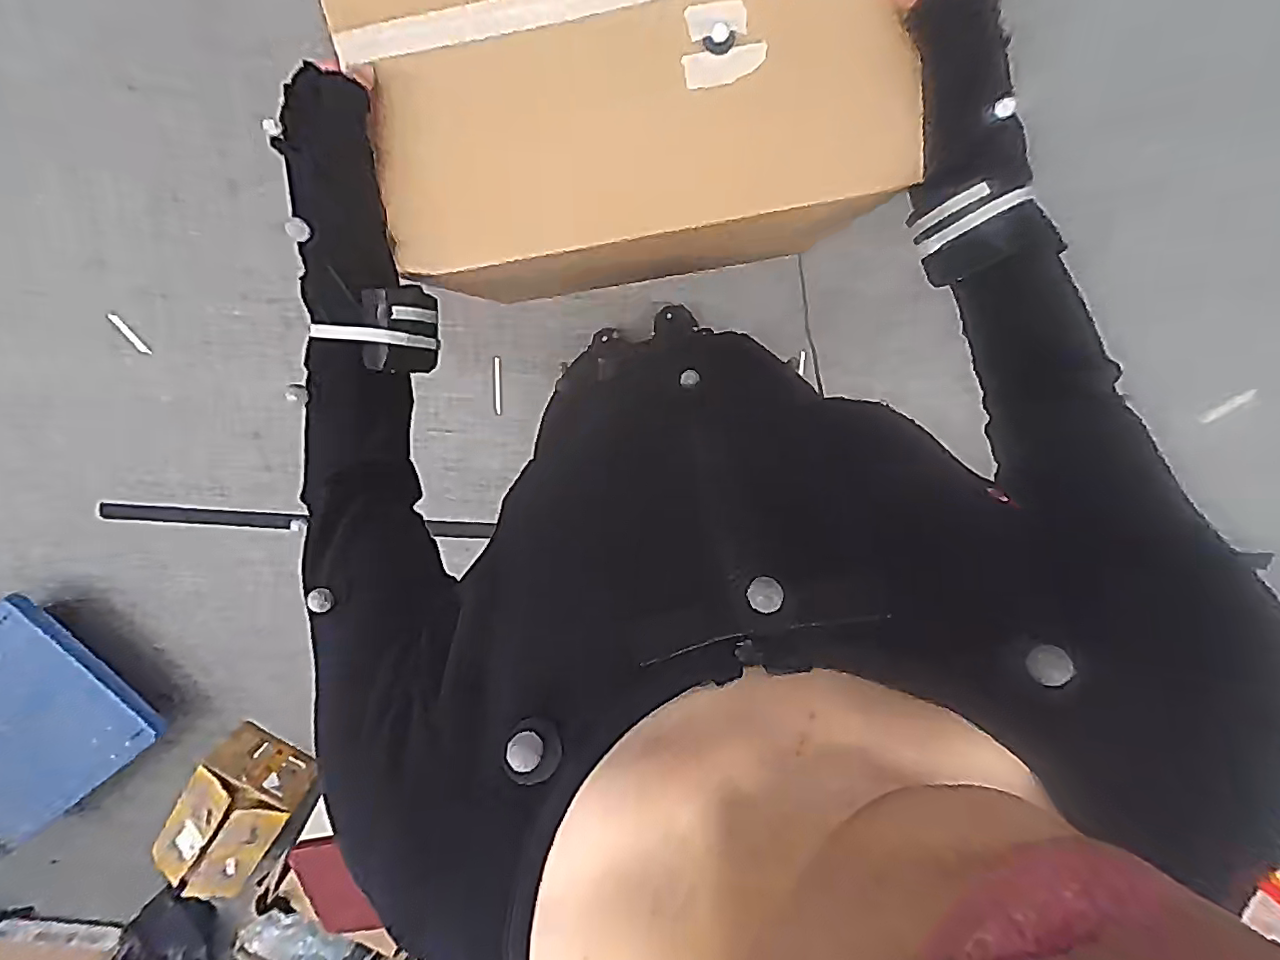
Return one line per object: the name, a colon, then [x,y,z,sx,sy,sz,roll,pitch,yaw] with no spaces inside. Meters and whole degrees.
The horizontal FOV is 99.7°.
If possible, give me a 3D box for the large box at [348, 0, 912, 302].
large box: [-0.011,-0.381,0.534,0.408,0.320,0.320,-9,104,3]
